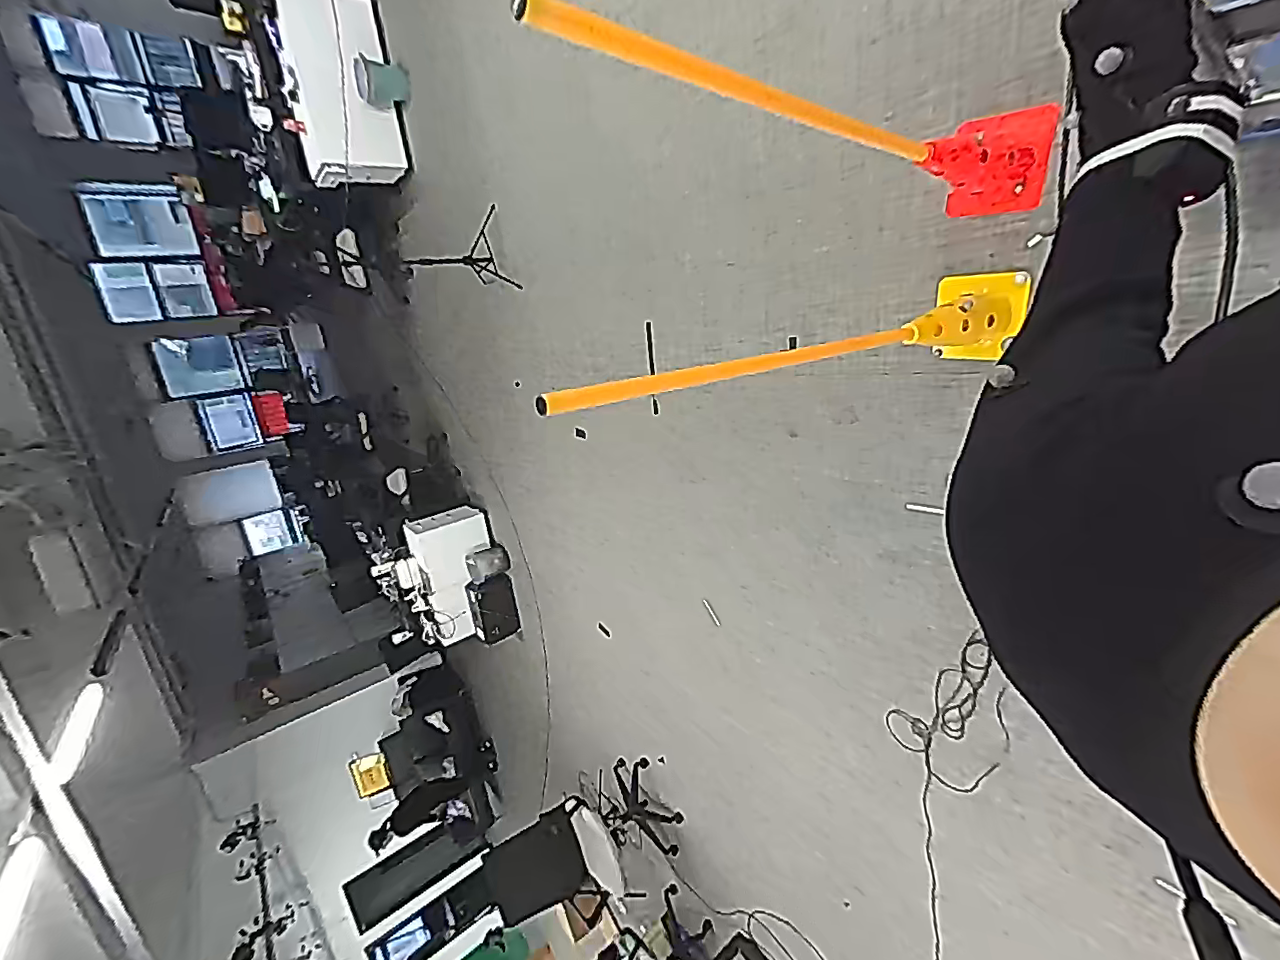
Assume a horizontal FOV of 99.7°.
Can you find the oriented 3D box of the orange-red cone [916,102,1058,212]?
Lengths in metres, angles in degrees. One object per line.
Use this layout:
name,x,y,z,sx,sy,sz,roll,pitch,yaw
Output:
orange-red cone,0.664,-0.666,1.105,0.198,0.360,0.199,23,122,46
